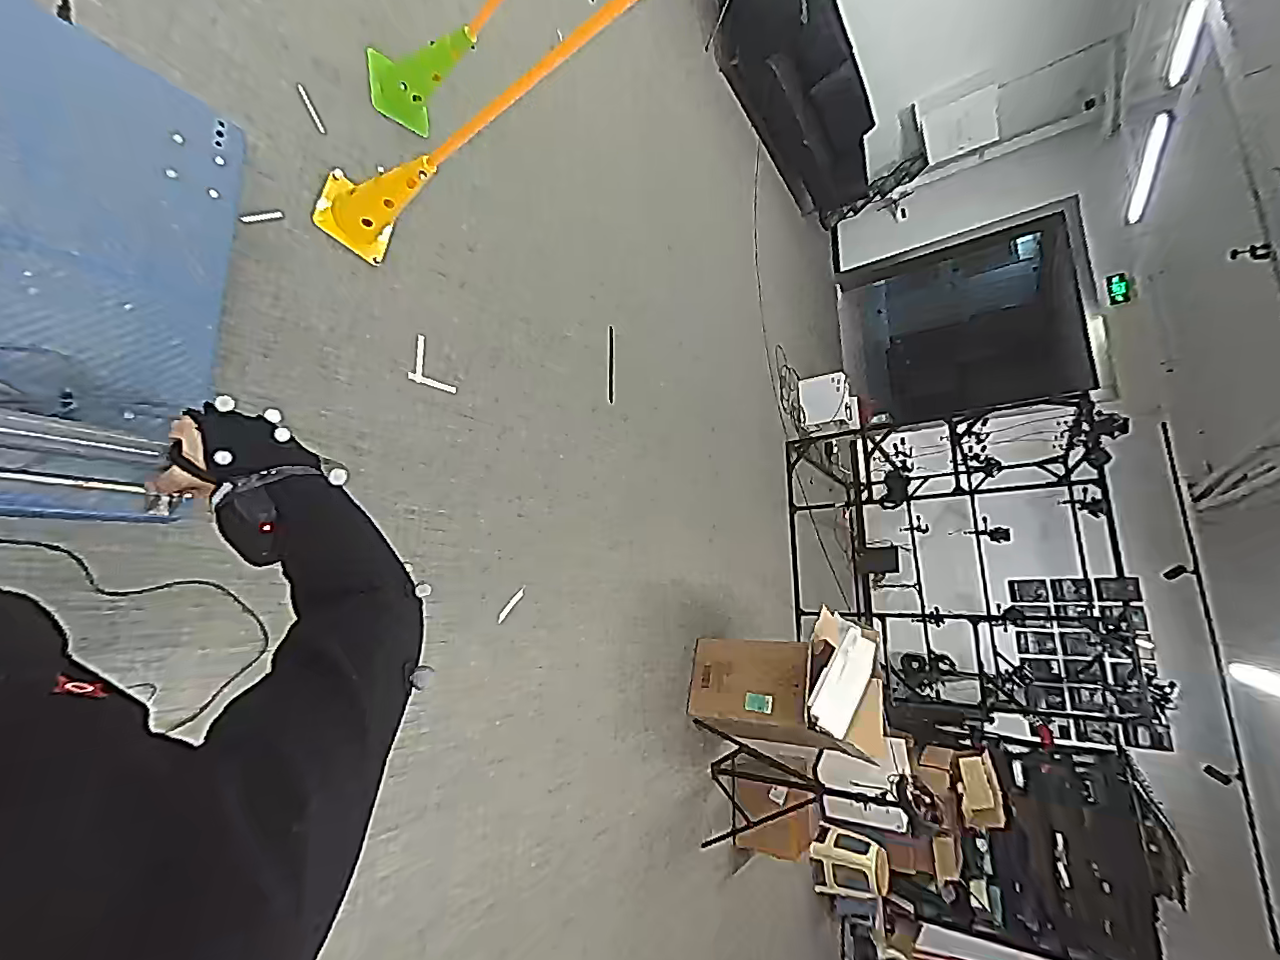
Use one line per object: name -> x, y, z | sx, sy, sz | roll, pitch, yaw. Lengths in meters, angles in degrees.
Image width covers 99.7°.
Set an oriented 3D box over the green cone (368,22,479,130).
green cone -> -0.626, -1.271, 1.632 | 0.200, 0.368, 0.202 | -4, 88, -57
